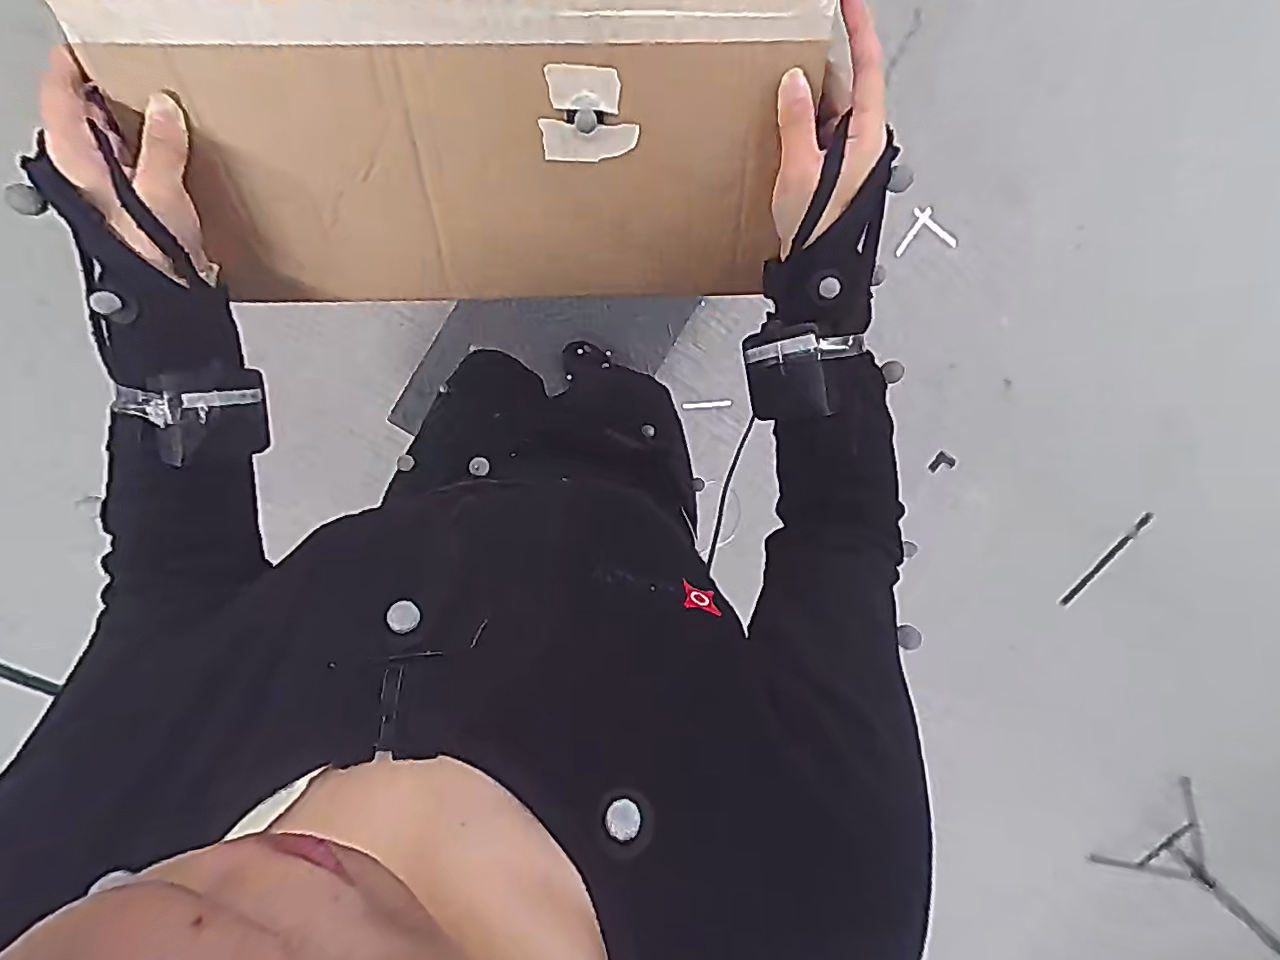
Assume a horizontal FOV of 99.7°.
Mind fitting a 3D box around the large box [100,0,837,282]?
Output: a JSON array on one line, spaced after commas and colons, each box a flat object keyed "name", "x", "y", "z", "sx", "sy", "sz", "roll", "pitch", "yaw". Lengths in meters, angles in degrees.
[{"name": "large box", "x": -0.097, "y": -0.361, "z": 0.401, "sx": 0.408, "sy": 0.320, "sz": 0.320, "roll": -1, "pitch": 134, "yaw": -3}]
